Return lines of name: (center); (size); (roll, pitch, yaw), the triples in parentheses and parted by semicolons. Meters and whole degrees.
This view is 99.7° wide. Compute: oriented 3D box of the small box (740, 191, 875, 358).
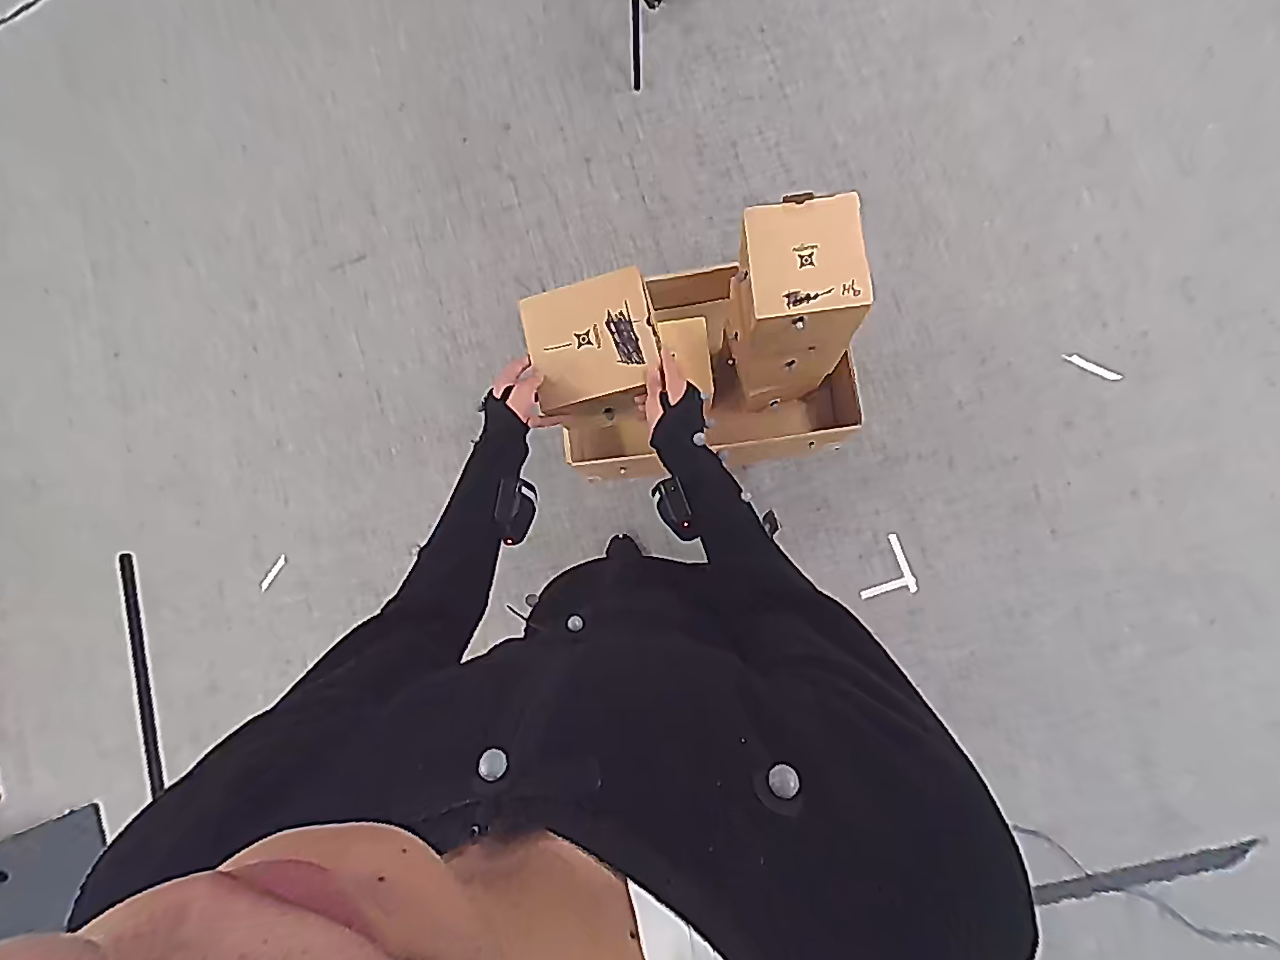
small box: (0.247, -0.307, 0.839); (0.168, 0.176, 0.179); (-5, 81, 8)

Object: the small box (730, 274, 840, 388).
small box: (0.267, -0.283, 1.001); (0.179, 0.176, 0.168); (-11, 82, 6)

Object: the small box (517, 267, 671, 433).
small box: (-0.056, -0.177, 0.792); (0.179, 0.176, 0.168); (-14, 82, 8)

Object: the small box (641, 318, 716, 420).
small box: (0.067, -0.237, 1.187); (0.179, 0.176, 0.168); (-6, 82, 5)
